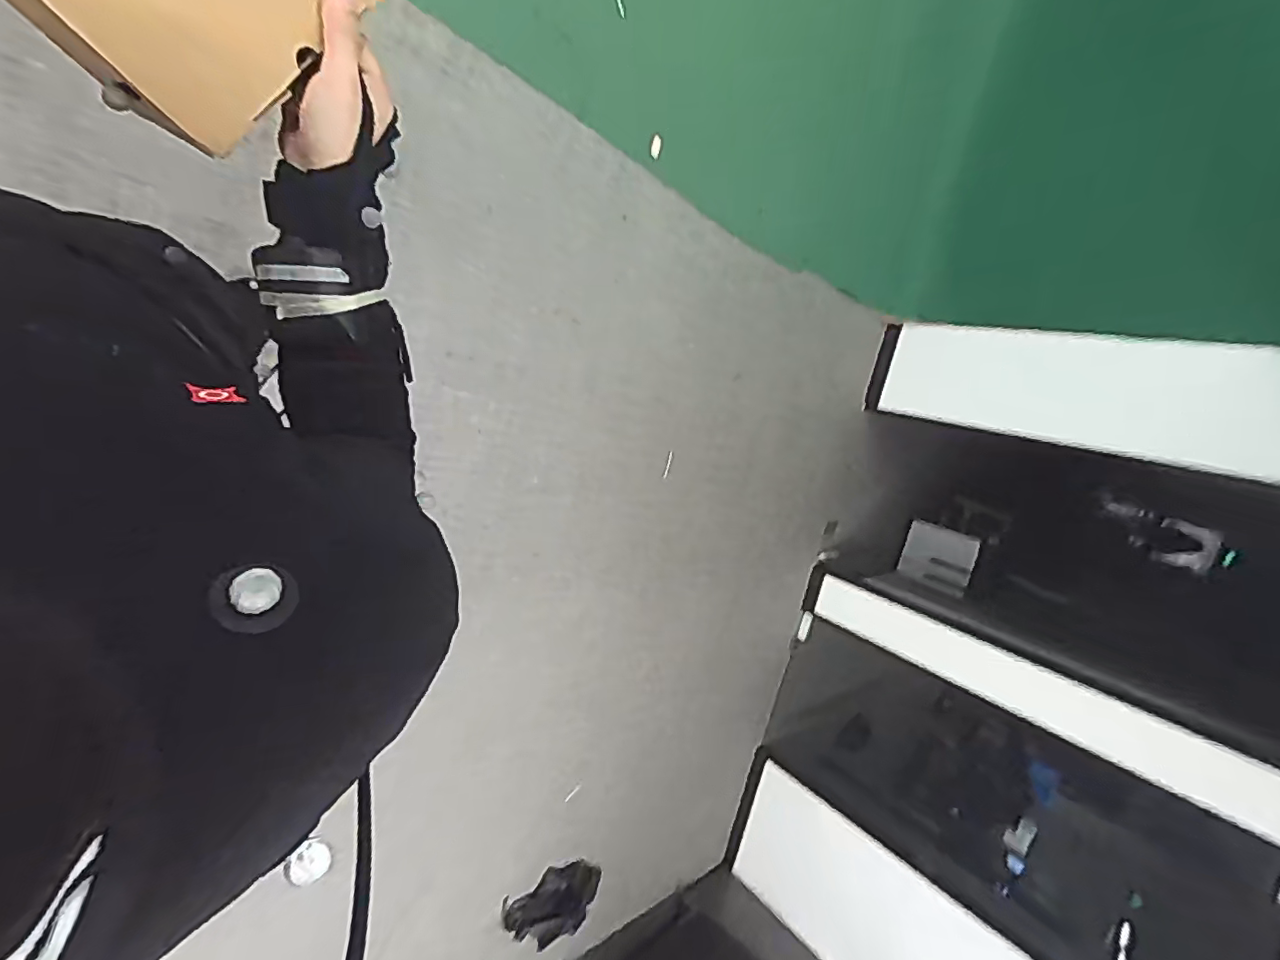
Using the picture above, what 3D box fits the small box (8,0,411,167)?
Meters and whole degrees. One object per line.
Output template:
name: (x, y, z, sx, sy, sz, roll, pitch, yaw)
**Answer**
small box: (-0.277, -0.318, 0.295, 0.168, 0.176, 0.179, -52, 154, -8)
